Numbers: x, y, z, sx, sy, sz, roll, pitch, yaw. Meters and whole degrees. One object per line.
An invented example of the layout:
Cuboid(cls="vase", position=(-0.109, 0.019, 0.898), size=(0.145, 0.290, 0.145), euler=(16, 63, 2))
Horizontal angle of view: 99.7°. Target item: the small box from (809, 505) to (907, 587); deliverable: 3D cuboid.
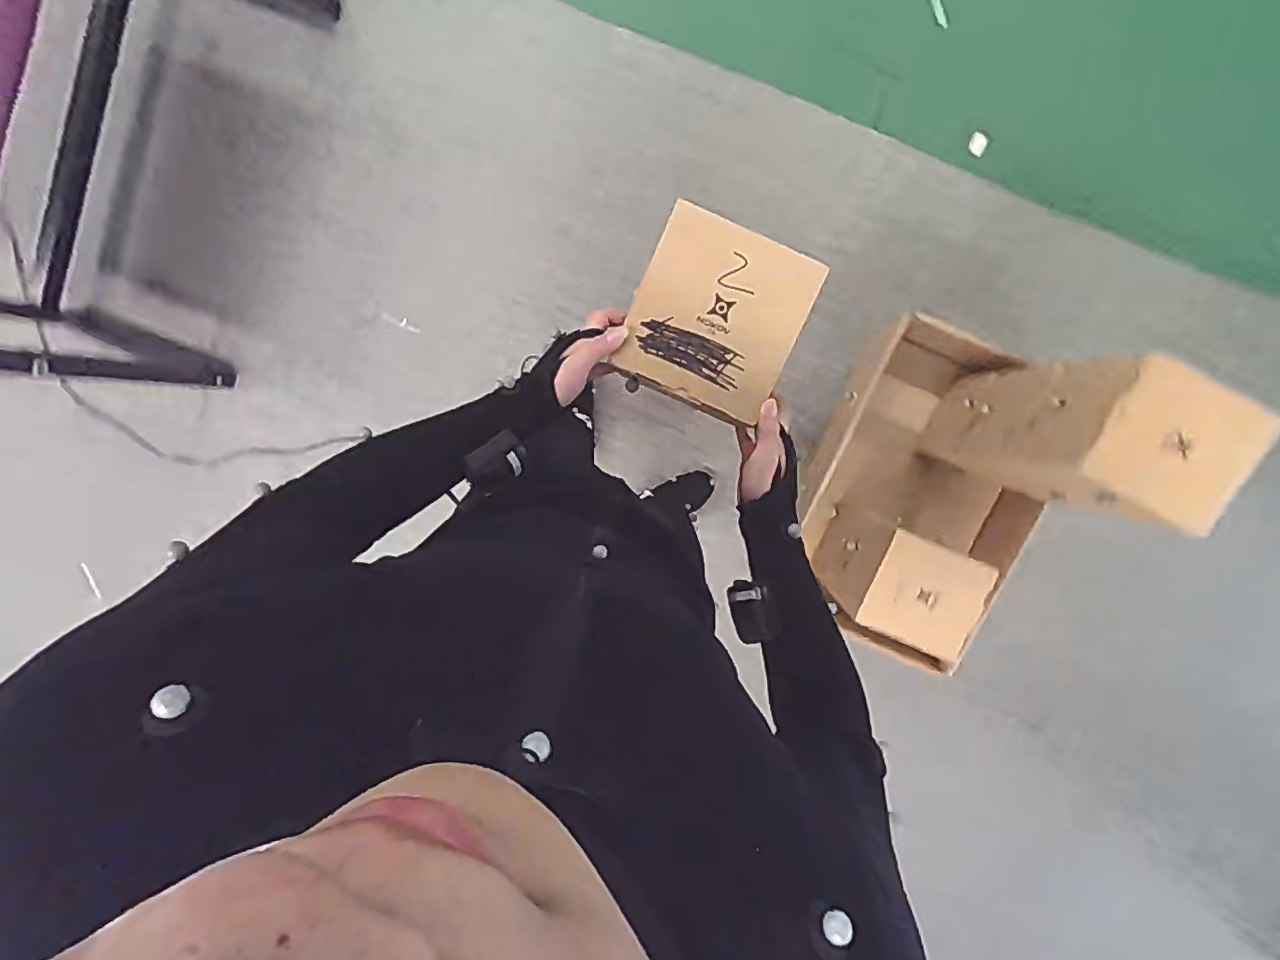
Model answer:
Cuboid(cls="small box", position=(0.472, 0.161, 1.105), size=(0.179, 0.176, 0.168), euler=(24, 98, 1))

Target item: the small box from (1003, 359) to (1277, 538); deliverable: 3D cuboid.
Cuboid(cls="small box", position=(0.660, -0.047, 0.742), size=(0.179, 0.176, 0.168), euler=(30, 98, 1))

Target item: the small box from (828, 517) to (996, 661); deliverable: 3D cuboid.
Cuboid(cls="small box", position=(0.459, 0.178, 0.943), size=(0.179, 0.176, 0.168), euler=(24, 97, 1))

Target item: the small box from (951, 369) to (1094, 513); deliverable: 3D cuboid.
Cuboid(cls="small box", position=(0.673, -0.067, 0.902), size=(0.179, 0.176, 0.168), euler=(29, 96, 1))

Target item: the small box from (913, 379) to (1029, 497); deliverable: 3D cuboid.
Cuboid(cls="small box", position=(0.685, -0.086, 1.064), size=(0.179, 0.176, 0.168), euler=(26, 98, 1))
